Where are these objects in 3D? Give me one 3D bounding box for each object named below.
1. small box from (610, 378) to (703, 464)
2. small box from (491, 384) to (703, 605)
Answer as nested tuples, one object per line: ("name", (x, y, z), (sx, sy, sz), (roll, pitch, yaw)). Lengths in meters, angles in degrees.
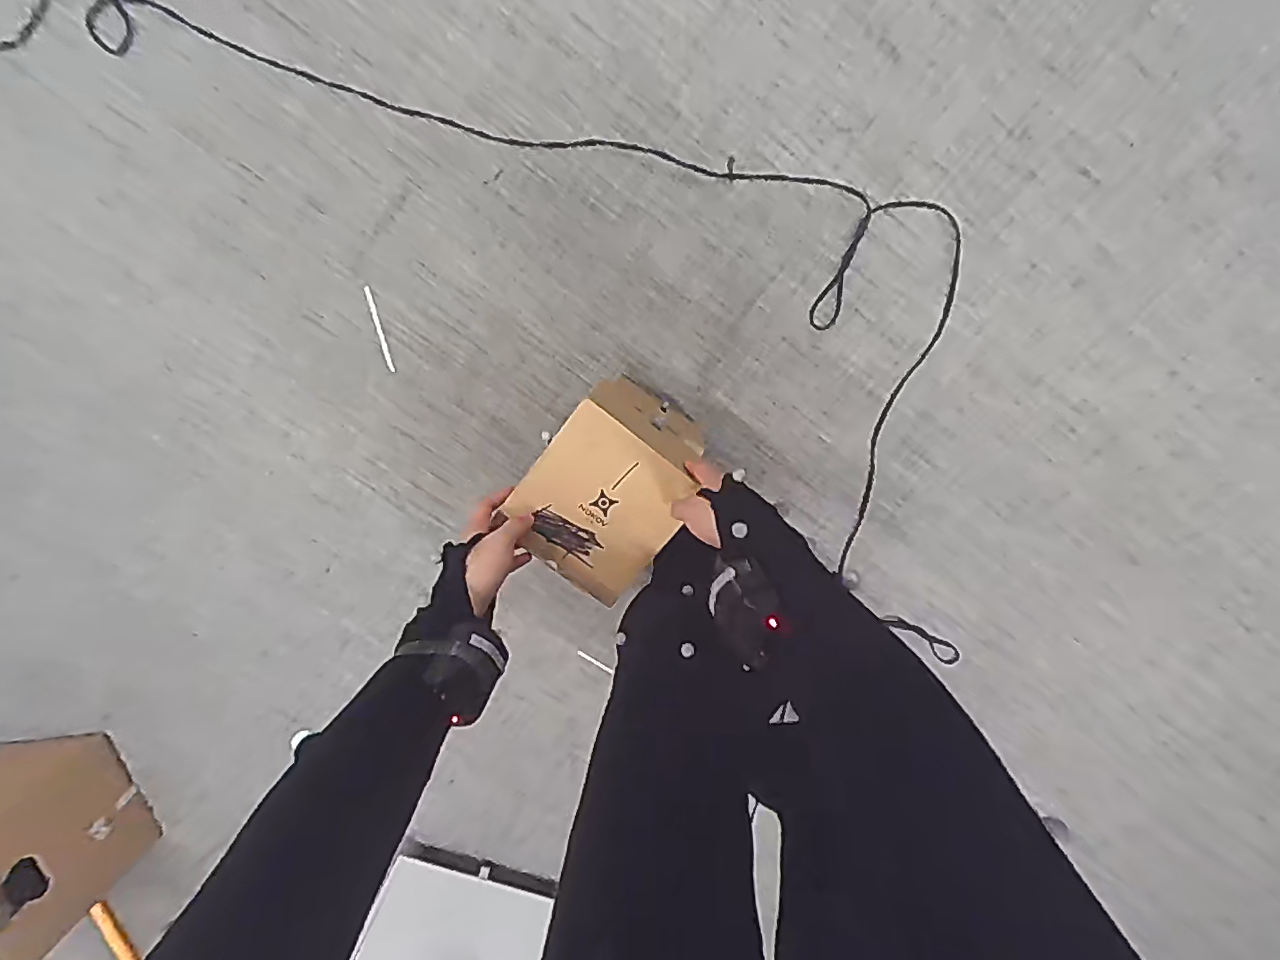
("small box", (-0.018, -0.045, 0.868), (0.168, 0.176, 0.179), (33, 107, -6))
("small box", (-0.044, 0.007, 0.651), (0.168, 0.176, 0.179), (37, 105, -10))
